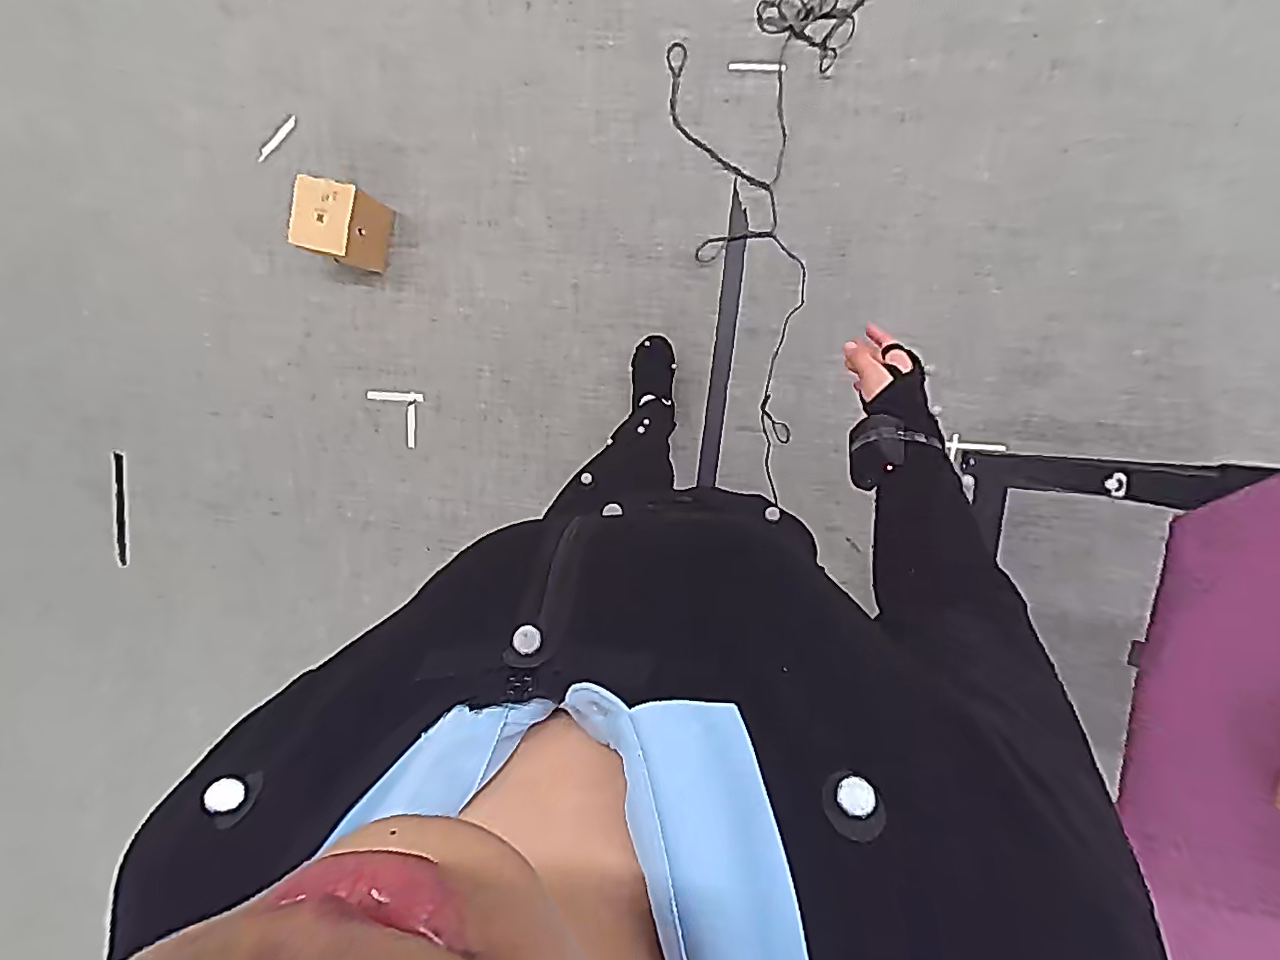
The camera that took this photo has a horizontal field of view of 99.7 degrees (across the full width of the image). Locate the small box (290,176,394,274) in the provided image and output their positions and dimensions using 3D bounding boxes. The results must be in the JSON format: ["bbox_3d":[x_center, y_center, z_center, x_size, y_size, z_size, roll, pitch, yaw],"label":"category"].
[{"bbox_3d":[-0.785,-0.669,1.438,0.168,0.176,0.179,15,98,6],"label":"small box"}]
